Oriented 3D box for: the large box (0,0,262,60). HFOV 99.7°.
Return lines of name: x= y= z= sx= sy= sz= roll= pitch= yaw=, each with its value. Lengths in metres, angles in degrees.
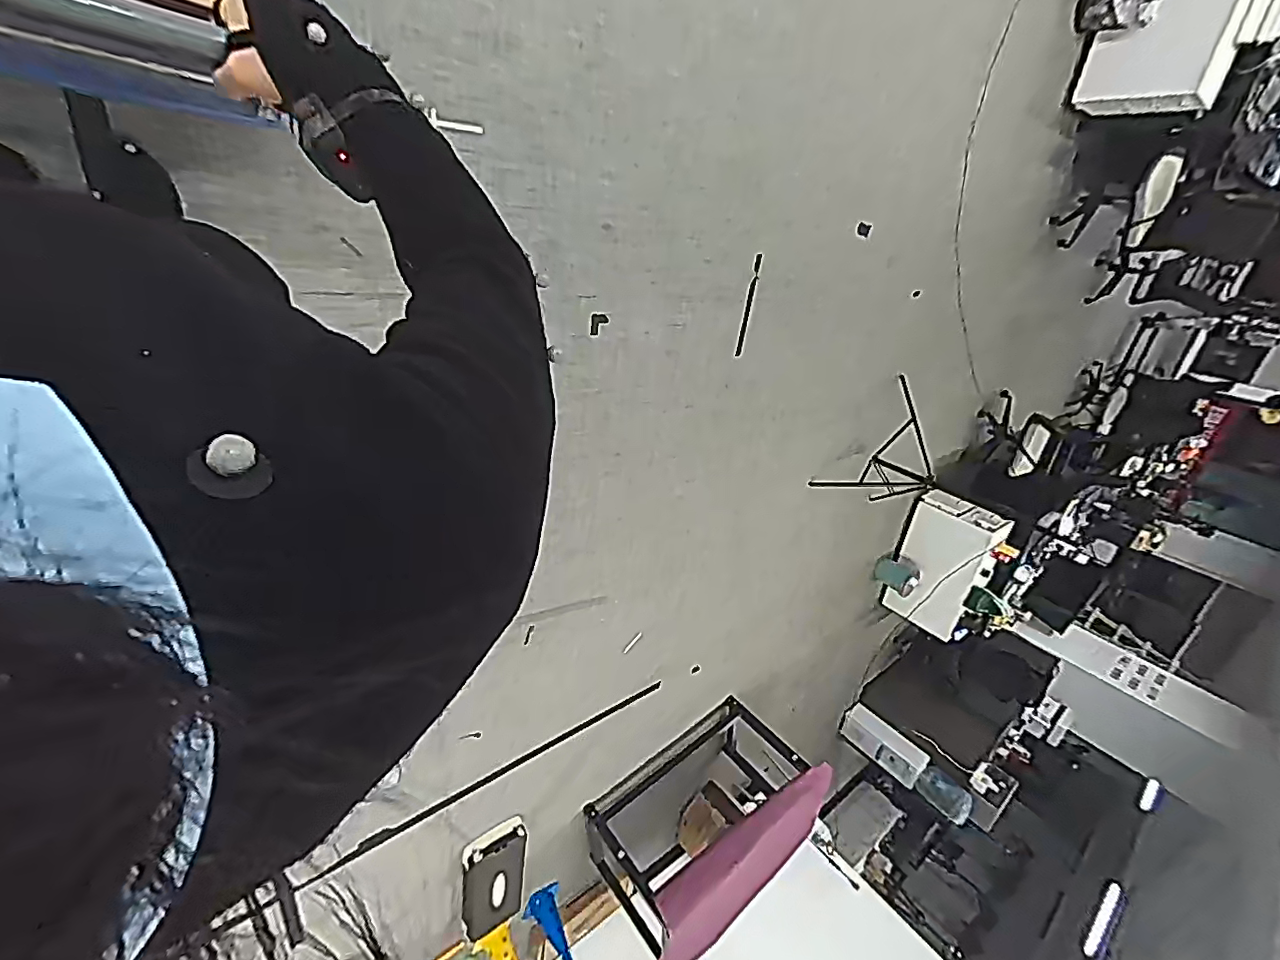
large box: x=-0.708 y=-0.734 z=0.604 sx=0.408 sy=0.320 sz=0.320 roll=-12 pitch=122 yaw=-40
